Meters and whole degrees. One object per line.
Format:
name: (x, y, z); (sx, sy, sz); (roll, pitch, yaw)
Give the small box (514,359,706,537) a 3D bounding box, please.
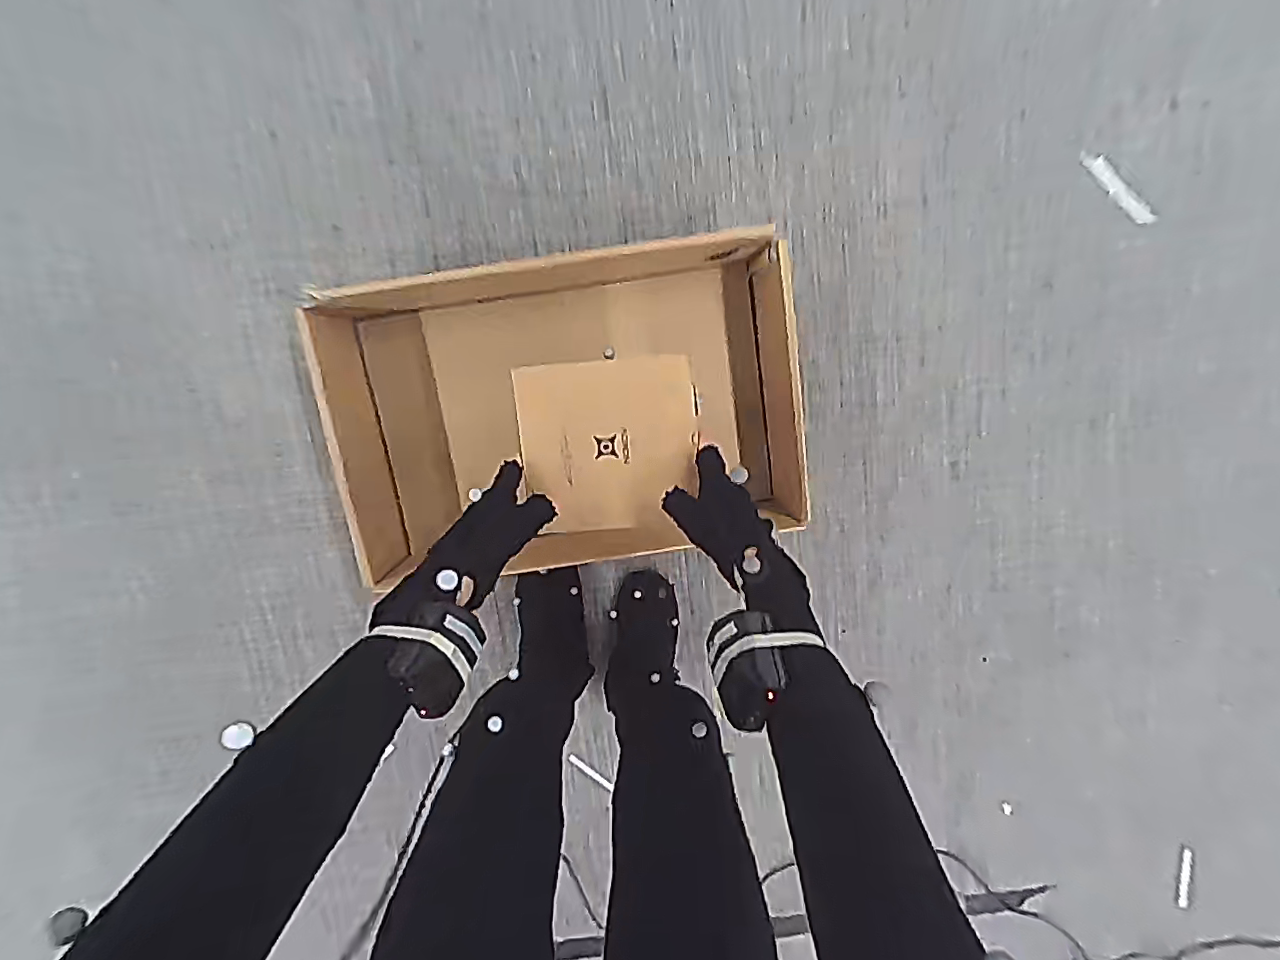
small box: (-0.026, -0.041, 0.600); (0.179, 0.176, 0.168); (-5, 97, 3)
